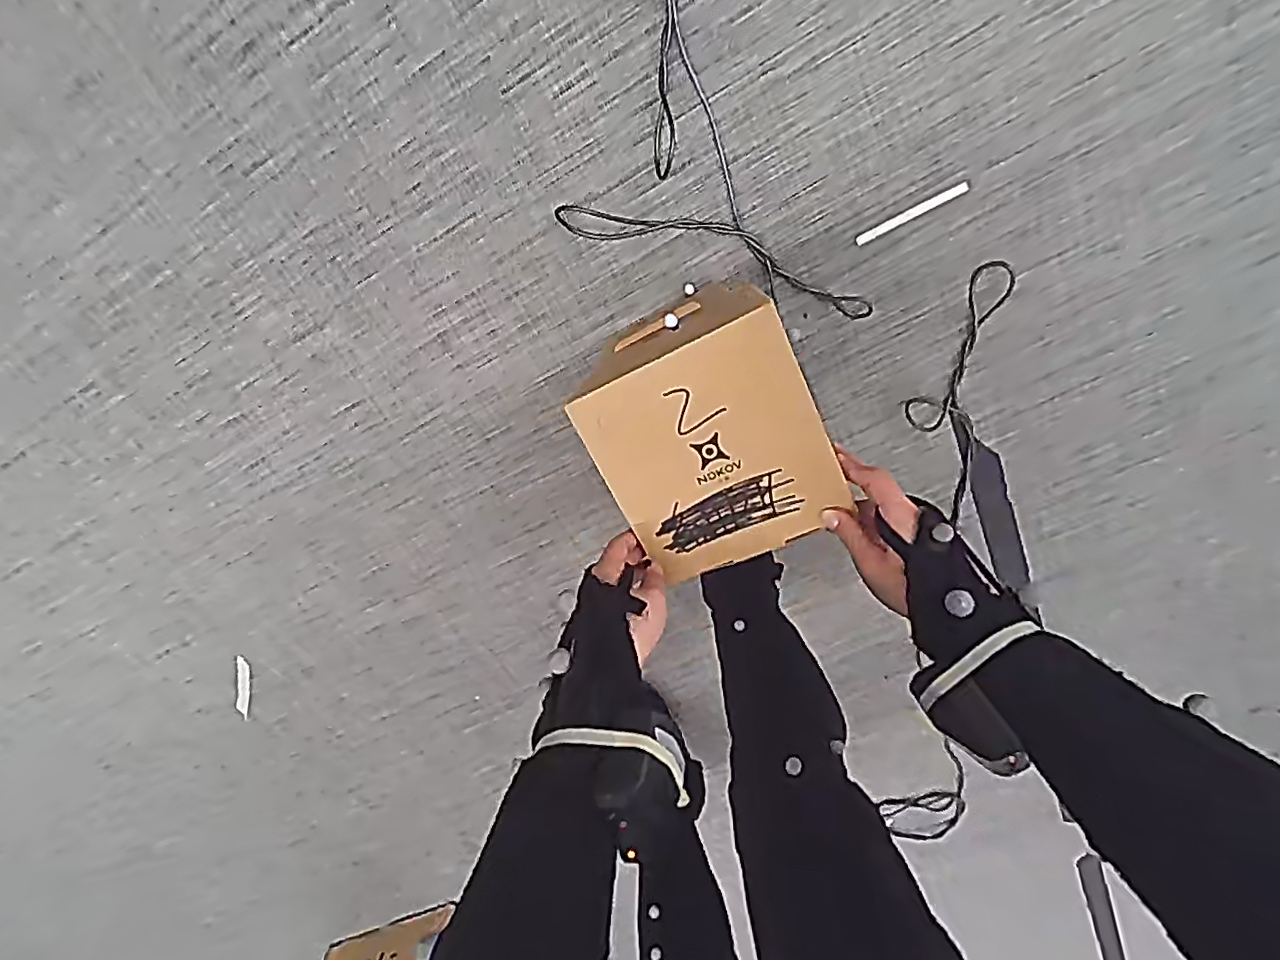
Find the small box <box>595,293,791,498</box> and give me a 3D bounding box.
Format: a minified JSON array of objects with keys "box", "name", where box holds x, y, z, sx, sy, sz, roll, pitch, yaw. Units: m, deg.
[{"box":[0.060,-0.113,0.667,0.168,0.176,0.179,-27,113,12],"name":"small box"}]
